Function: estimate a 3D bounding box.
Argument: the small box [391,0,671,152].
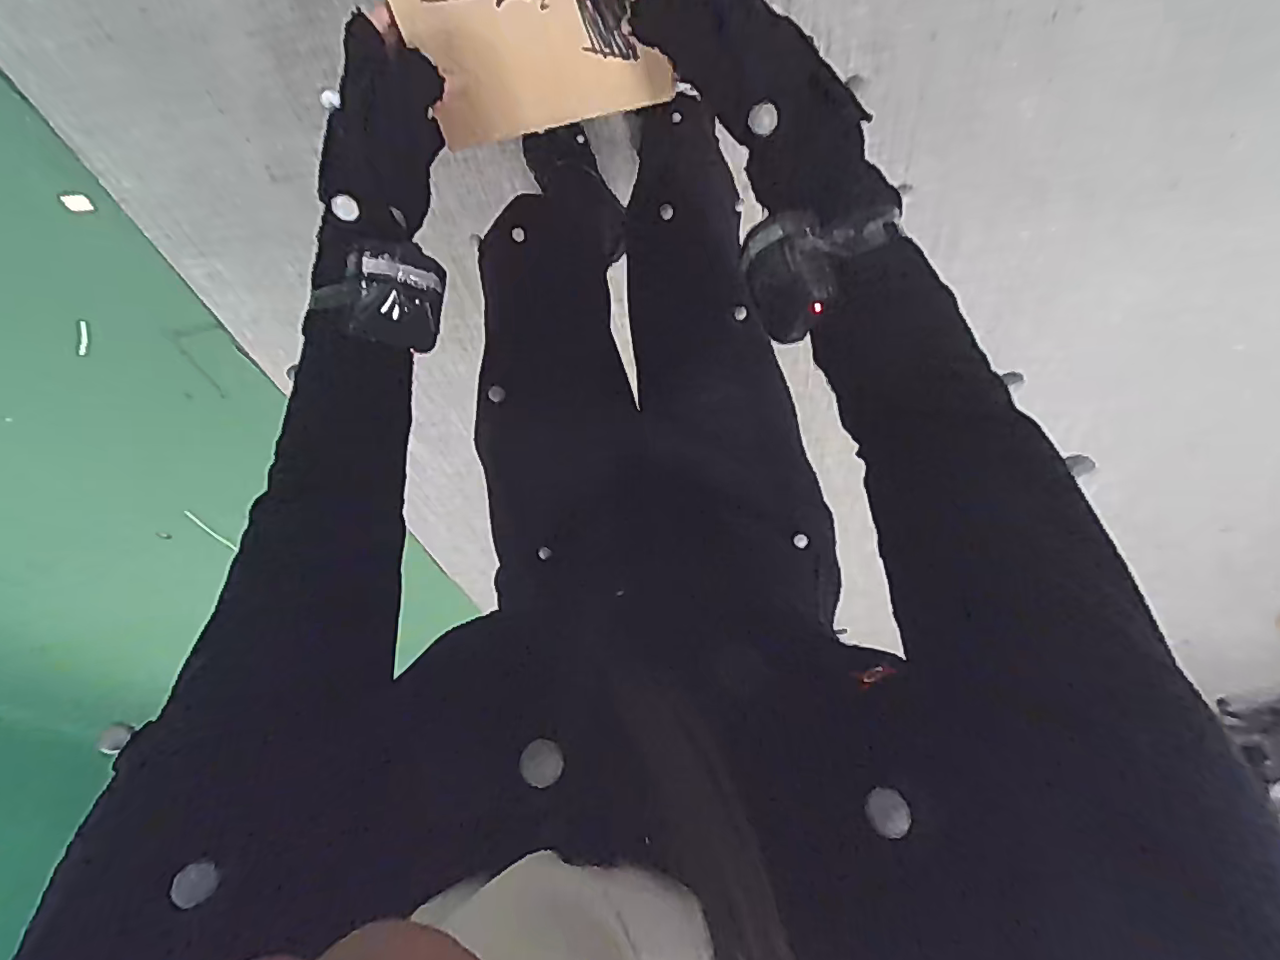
[{"bbox_3d":[-0.079,-0.379,0.403,0.179,0.176,0.168,-8,138,7],"label":"small box"}]

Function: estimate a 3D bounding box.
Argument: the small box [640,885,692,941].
[{"bbox_3d":[0.105,1.680,2.104,0.179,0.176,0.168,-9,139,11],"label":"small box"}]

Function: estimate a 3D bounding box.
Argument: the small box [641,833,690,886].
[{"bbox_3d":[0.105,1.553,2.205,0.179,0.176,0.168,-8,141,9],"label":"small box"}]
